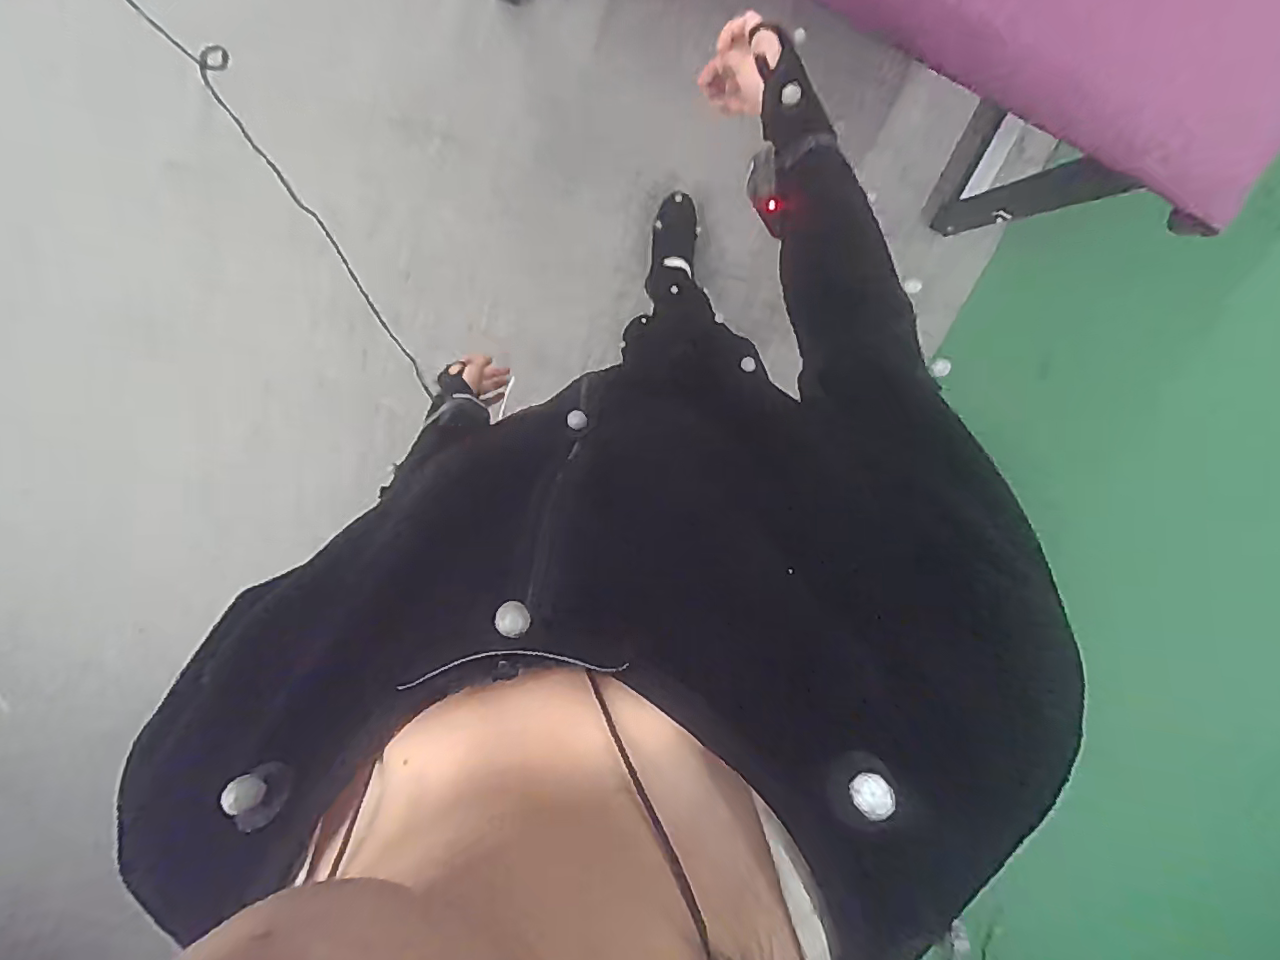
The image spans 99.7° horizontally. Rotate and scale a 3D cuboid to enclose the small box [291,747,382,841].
[{"bbox_3d":[-1.001,1.039,1.799,0.168,0.176,0.179,41,105,-11],"label":"small box"}]
